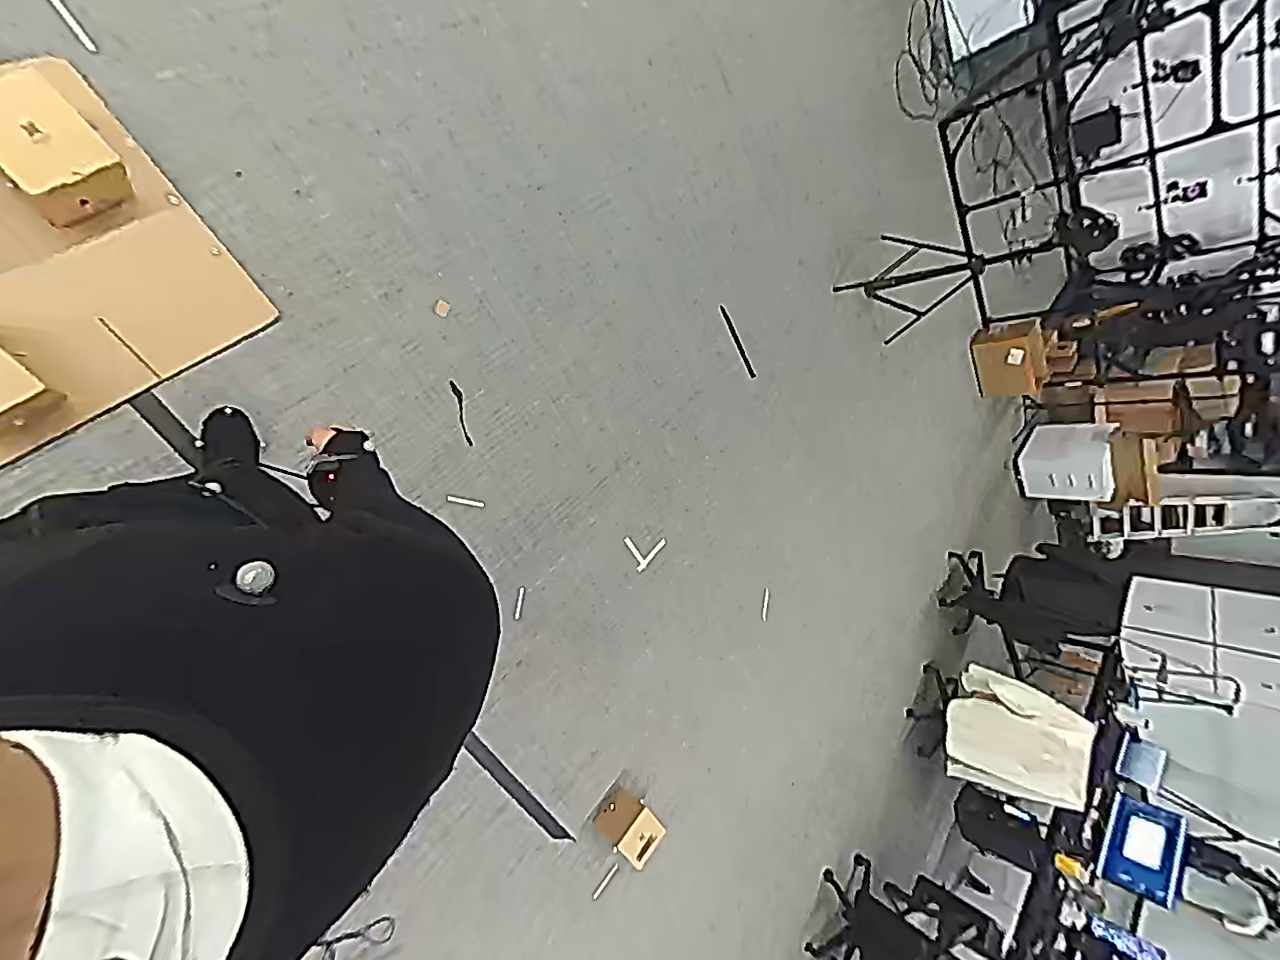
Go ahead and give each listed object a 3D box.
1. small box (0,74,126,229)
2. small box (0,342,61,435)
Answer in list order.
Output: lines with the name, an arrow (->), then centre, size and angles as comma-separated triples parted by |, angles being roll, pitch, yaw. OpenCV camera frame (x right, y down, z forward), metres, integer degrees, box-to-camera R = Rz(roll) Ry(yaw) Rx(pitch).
small box -> -1.161, -0.626, 1.048 | 0.168, 0.176, 0.179 | -49, 119, -25
small box -> -1.248, -0.178, 0.997 | 0.168, 0.176, 0.179 | -46, 119, -26
